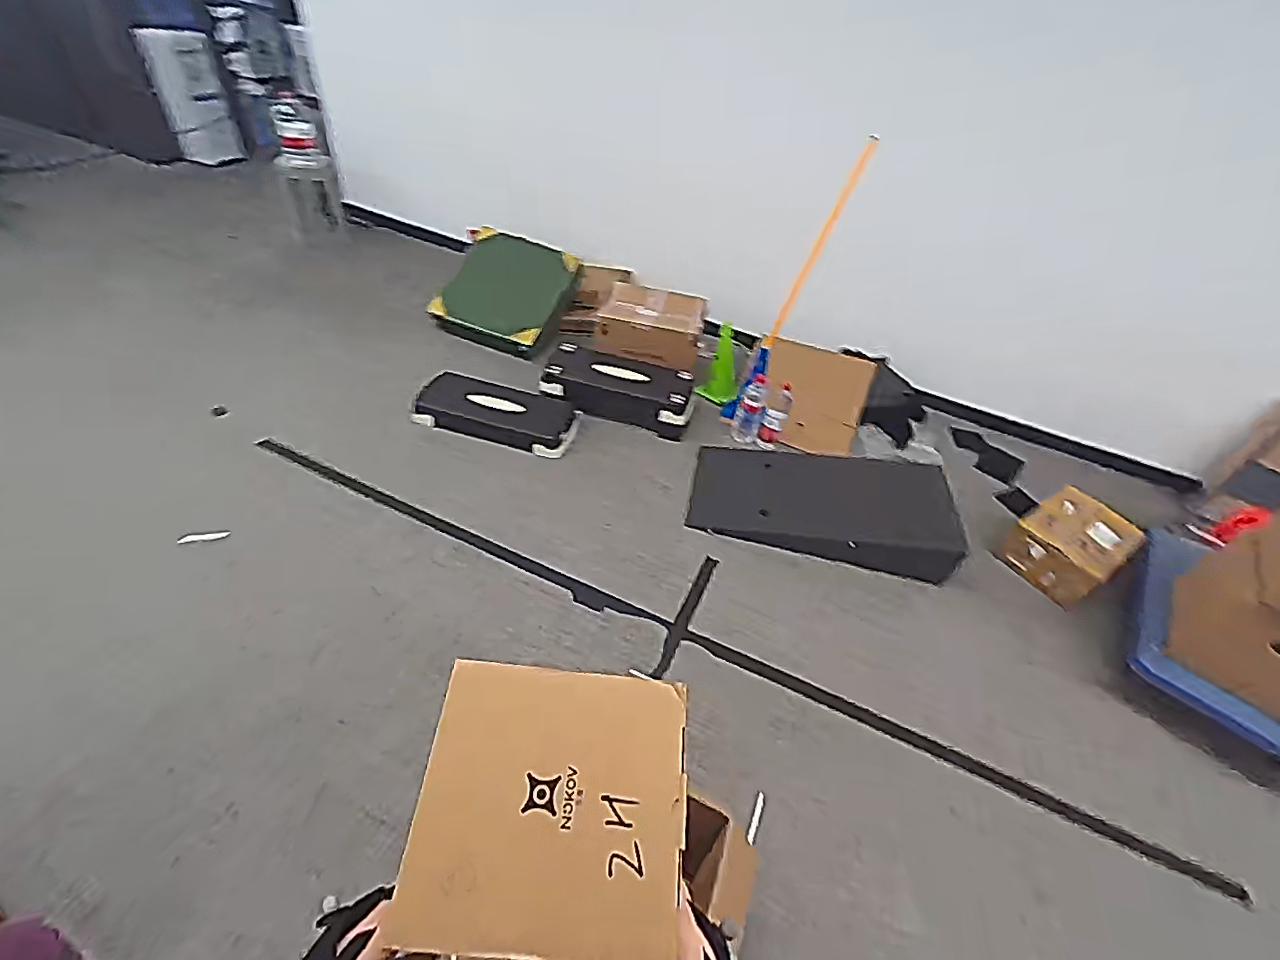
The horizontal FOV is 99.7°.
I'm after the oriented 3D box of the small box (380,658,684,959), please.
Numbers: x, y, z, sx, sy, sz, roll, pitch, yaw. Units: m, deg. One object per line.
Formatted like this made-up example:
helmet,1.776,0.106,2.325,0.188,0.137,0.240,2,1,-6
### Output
small box,-0.067,0.253,0.424,0.179,0.176,0.168,7,56,-3
